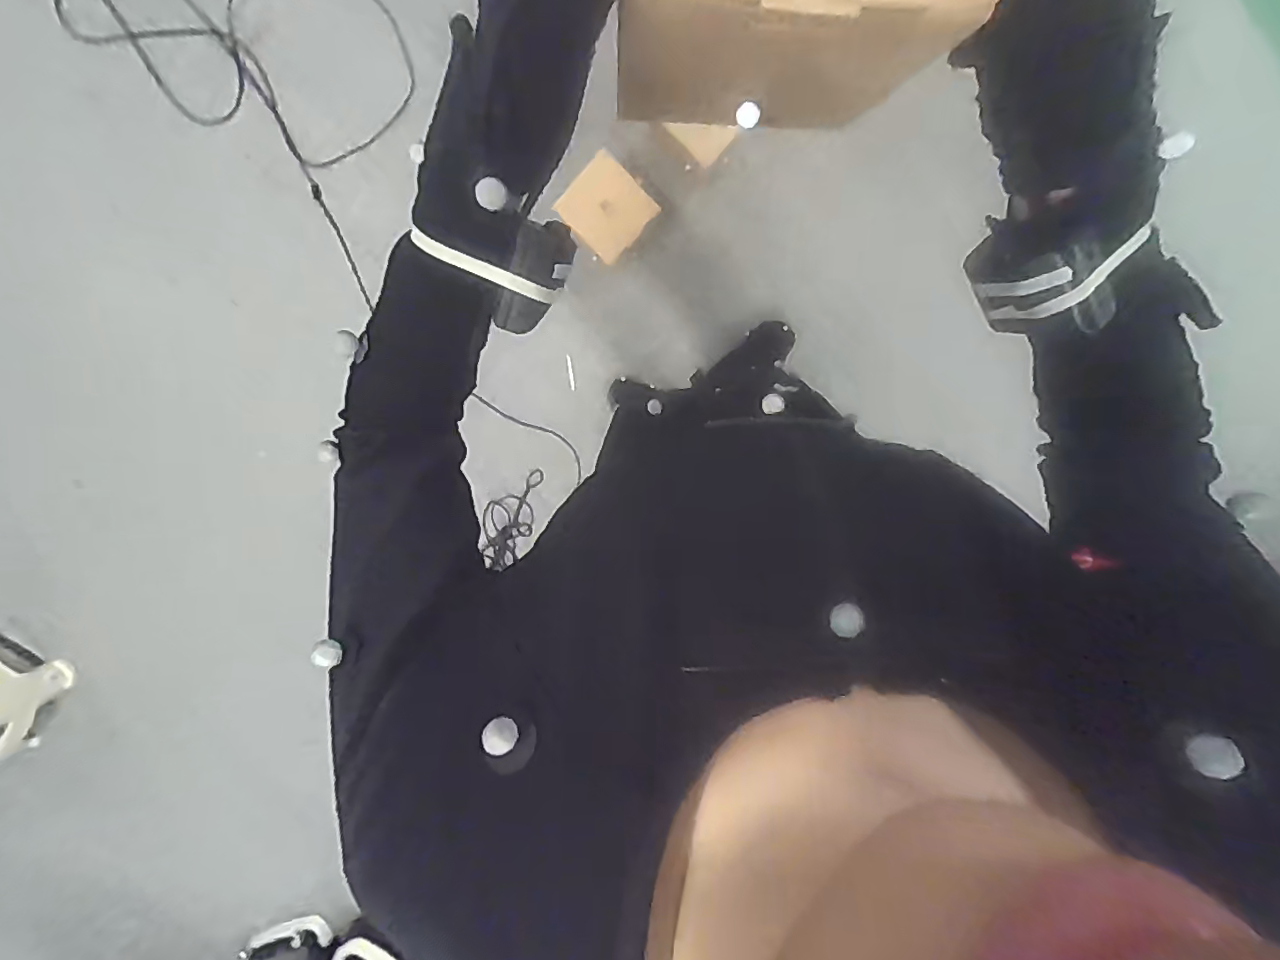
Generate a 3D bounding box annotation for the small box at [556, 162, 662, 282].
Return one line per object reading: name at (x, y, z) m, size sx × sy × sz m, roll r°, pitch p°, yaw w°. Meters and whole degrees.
small box at (-0.070, -0.588, 1.261) m, size 0.179 × 0.176 × 0.168 m, roll 43°, pitch 99°, yaw -10°
